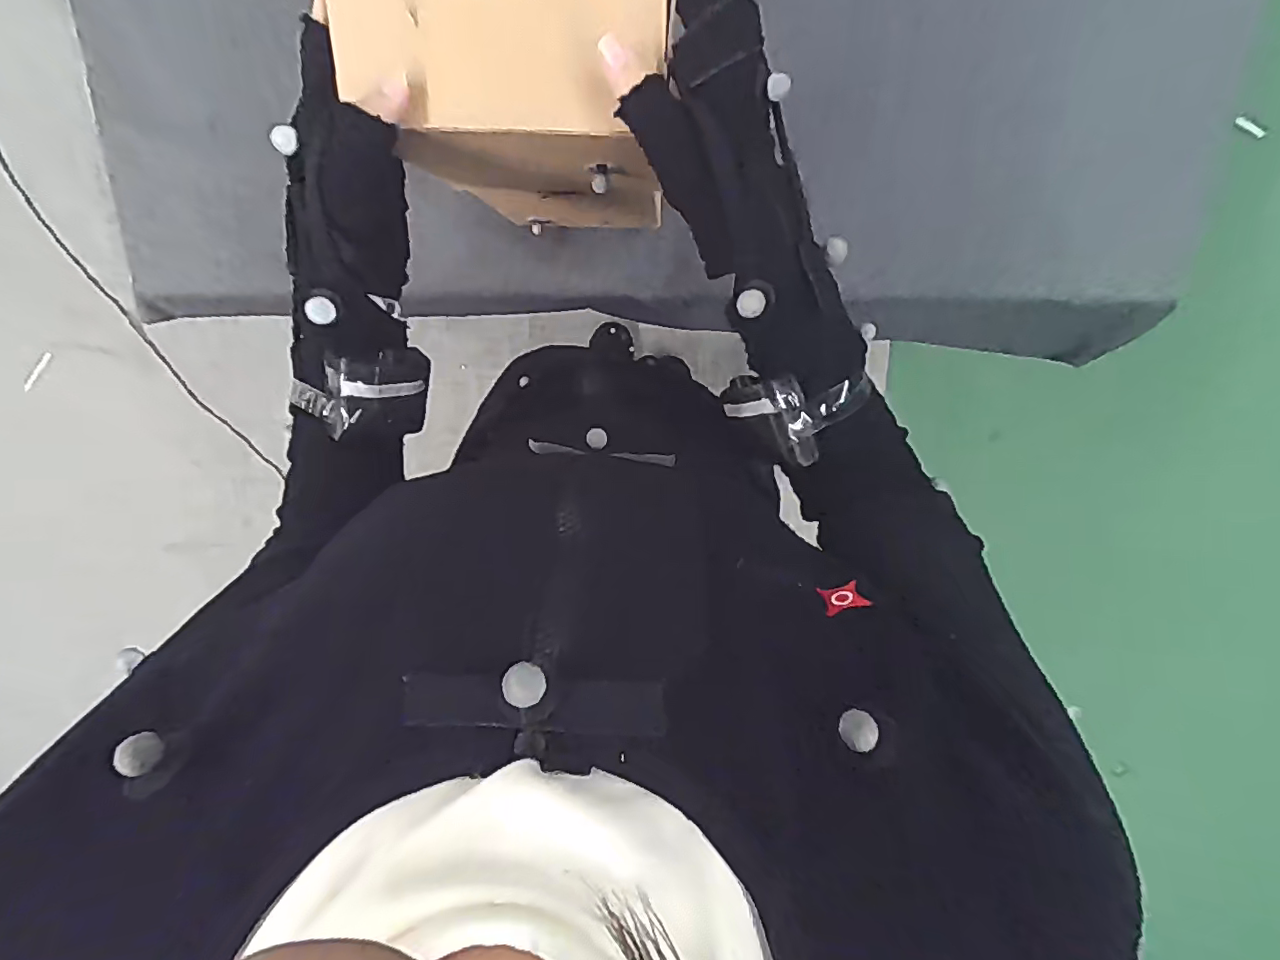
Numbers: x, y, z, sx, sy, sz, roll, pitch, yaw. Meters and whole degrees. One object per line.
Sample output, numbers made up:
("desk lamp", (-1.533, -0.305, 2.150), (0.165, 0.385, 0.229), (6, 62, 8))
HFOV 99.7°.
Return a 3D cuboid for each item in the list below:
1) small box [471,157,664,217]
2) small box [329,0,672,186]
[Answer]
("small box", (-0.063, -0.358, 0.517), (0.168, 0.176, 0.179), (-1, 106, 4))
("small box", (-0.068, -0.293, 0.338), (0.179, 0.176, 0.168), (1, 108, 4))
